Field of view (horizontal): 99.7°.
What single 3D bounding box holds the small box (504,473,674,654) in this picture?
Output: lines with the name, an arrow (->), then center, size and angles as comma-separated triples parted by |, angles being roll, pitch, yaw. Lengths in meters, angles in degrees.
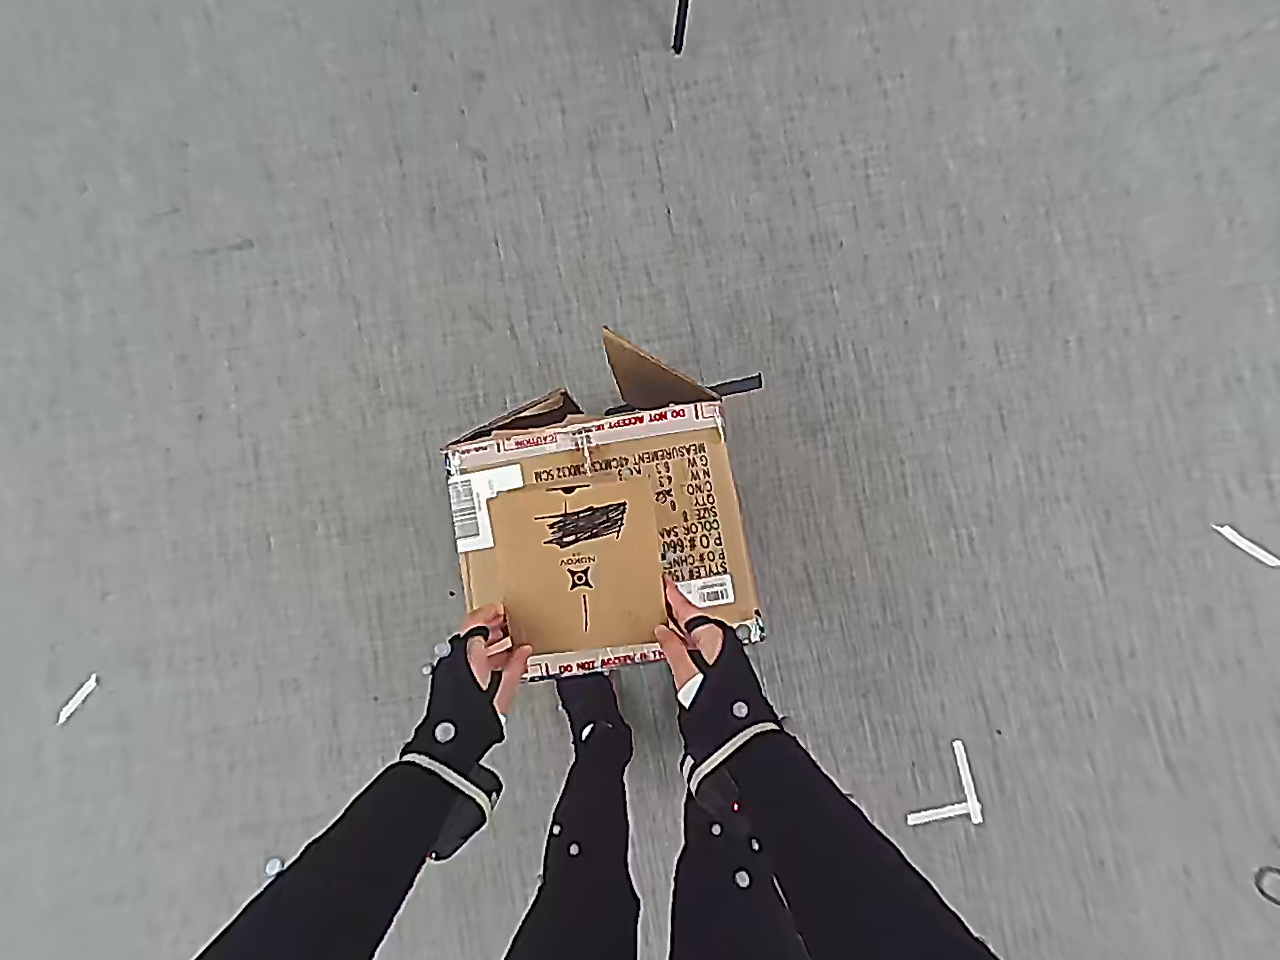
small box -> -0.053, 0.090, 0.644 | 0.168, 0.176, 0.179 | -7, 89, 2
